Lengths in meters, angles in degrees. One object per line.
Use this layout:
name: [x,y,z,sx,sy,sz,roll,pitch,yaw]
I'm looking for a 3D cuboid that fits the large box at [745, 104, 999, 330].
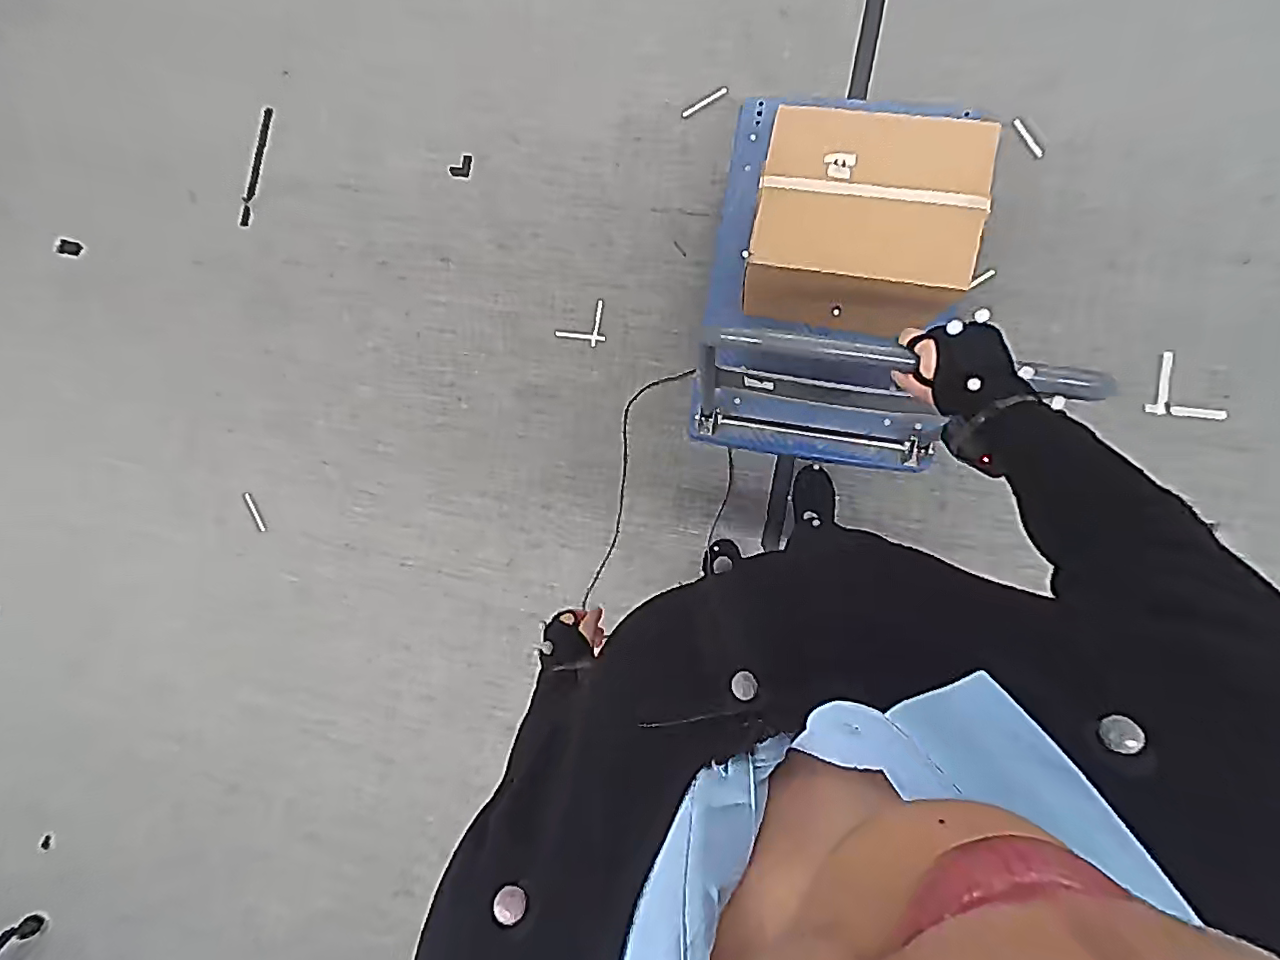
large box: [0.450,-0.529,1.139,0.408,0.320,0.320,11,89,10]
